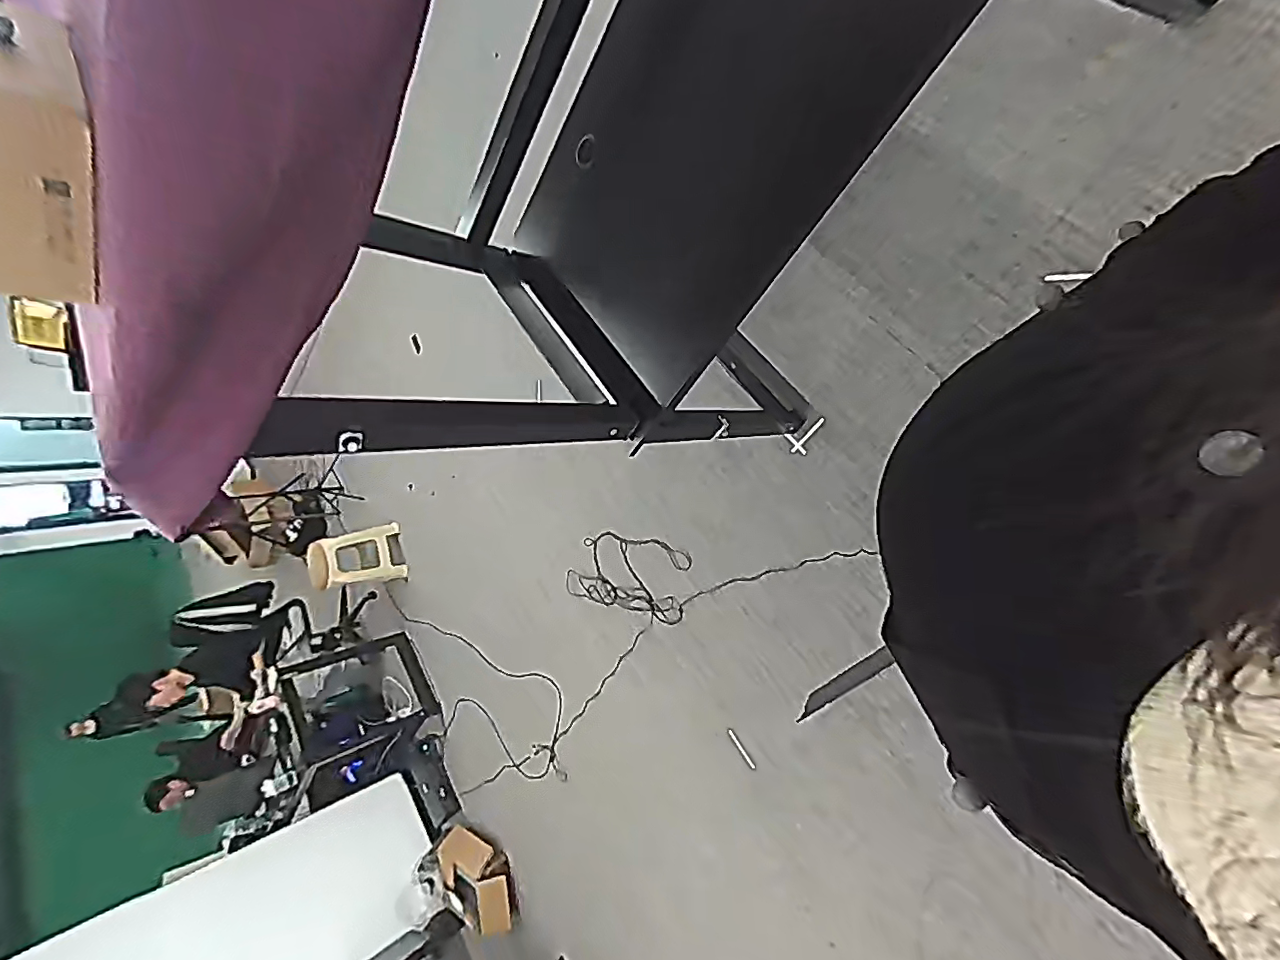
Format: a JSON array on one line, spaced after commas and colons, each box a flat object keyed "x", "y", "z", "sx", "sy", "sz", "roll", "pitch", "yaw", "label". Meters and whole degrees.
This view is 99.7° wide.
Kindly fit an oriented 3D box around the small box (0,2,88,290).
[{"x": -0.541, "y": -0.266, "z": 0.403, "sx": 0.179, "sy": 0.176, "sz": 0.168, "roll": 54, "pitch": 126, "yaw": 24, "label": "small box"}]
